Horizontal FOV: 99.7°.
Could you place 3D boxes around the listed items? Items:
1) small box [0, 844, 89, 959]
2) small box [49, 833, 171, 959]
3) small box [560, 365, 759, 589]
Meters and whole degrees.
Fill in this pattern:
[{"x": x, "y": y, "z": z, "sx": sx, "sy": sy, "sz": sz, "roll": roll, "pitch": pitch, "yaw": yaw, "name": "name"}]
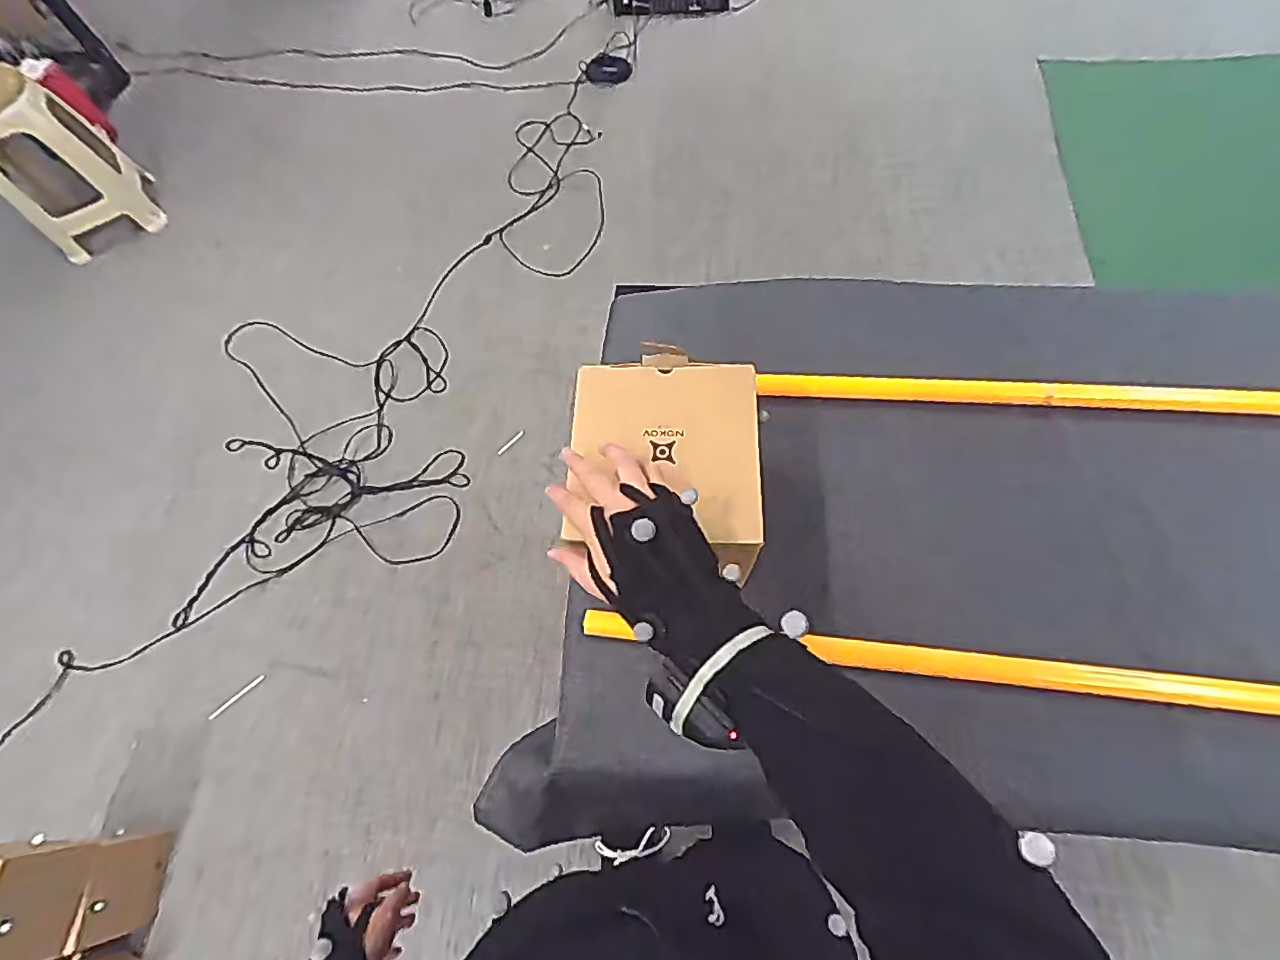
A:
[{"x": -1.109, "y": 0.736, "z": 0.911, "sx": 0.168, "sy": 0.176, "sz": 0.179, "roll": -1, "pitch": 64, "yaw": 4, "name": "small box"}, {"x": -1.089, "y": 0.813, "z": 1.060, "sx": 0.179, "sy": 0.176, "sz": 0.168, "roll": -9, "pitch": 68, "yaw": 2, "name": "small box"}, {"x": 0.025, "y": 0.007, "z": 0.542, "sx": 0.168, "sy": 0.176, "sz": 0.179, "roll": 0, "pitch": 65, "yaw": 5, "name": "small box"}]
